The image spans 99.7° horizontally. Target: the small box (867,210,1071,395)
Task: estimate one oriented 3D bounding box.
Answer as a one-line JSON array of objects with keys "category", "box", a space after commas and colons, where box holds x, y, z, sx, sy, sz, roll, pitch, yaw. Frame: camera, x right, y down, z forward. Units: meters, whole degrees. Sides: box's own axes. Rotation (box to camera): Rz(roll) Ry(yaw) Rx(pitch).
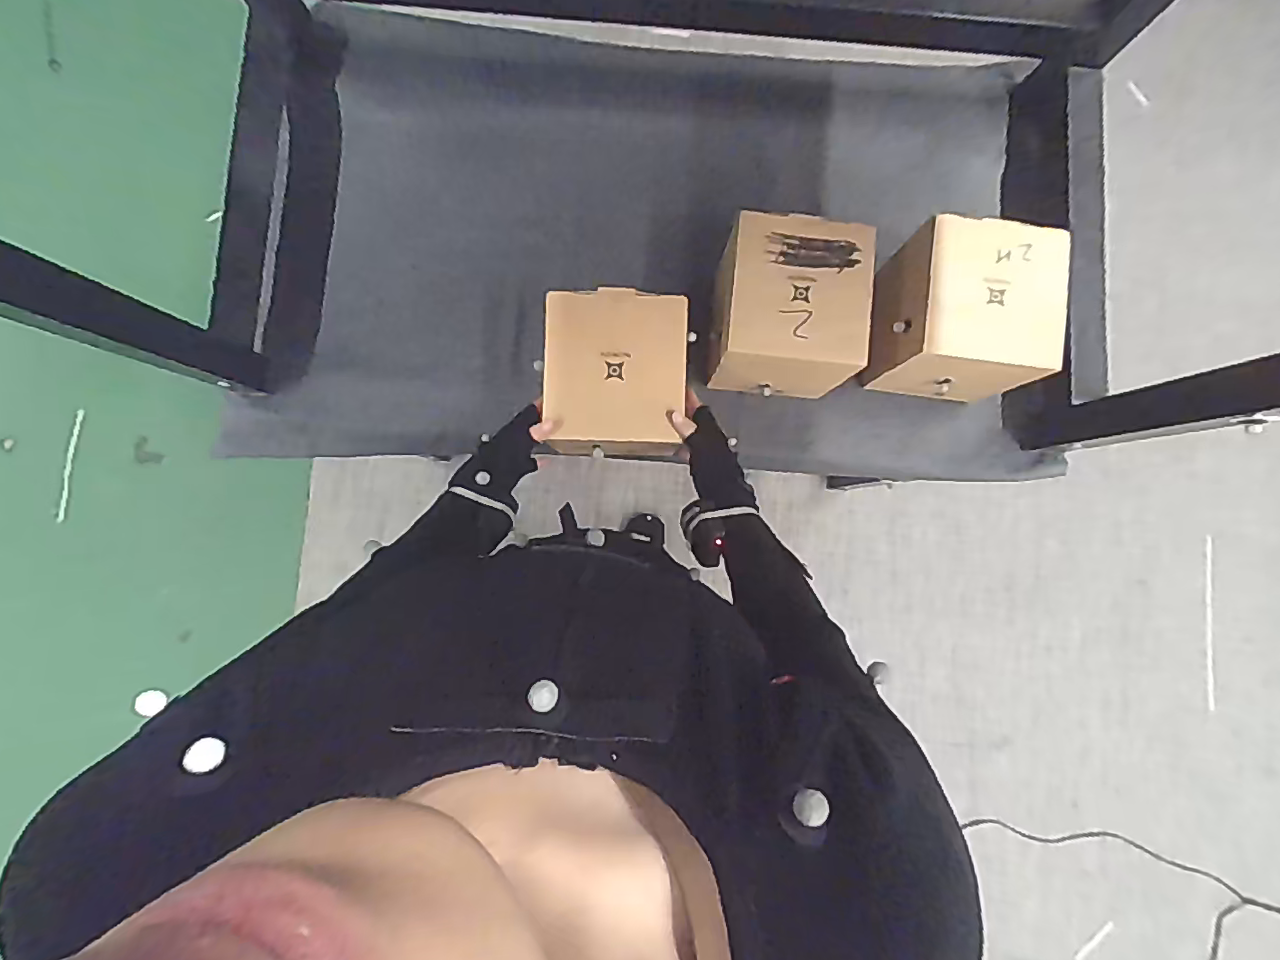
[{"category": "small box", "box": [0.420, -0.220, 0.717, 0.168, 0.176, 0.179, 7, 85, -1]}]
